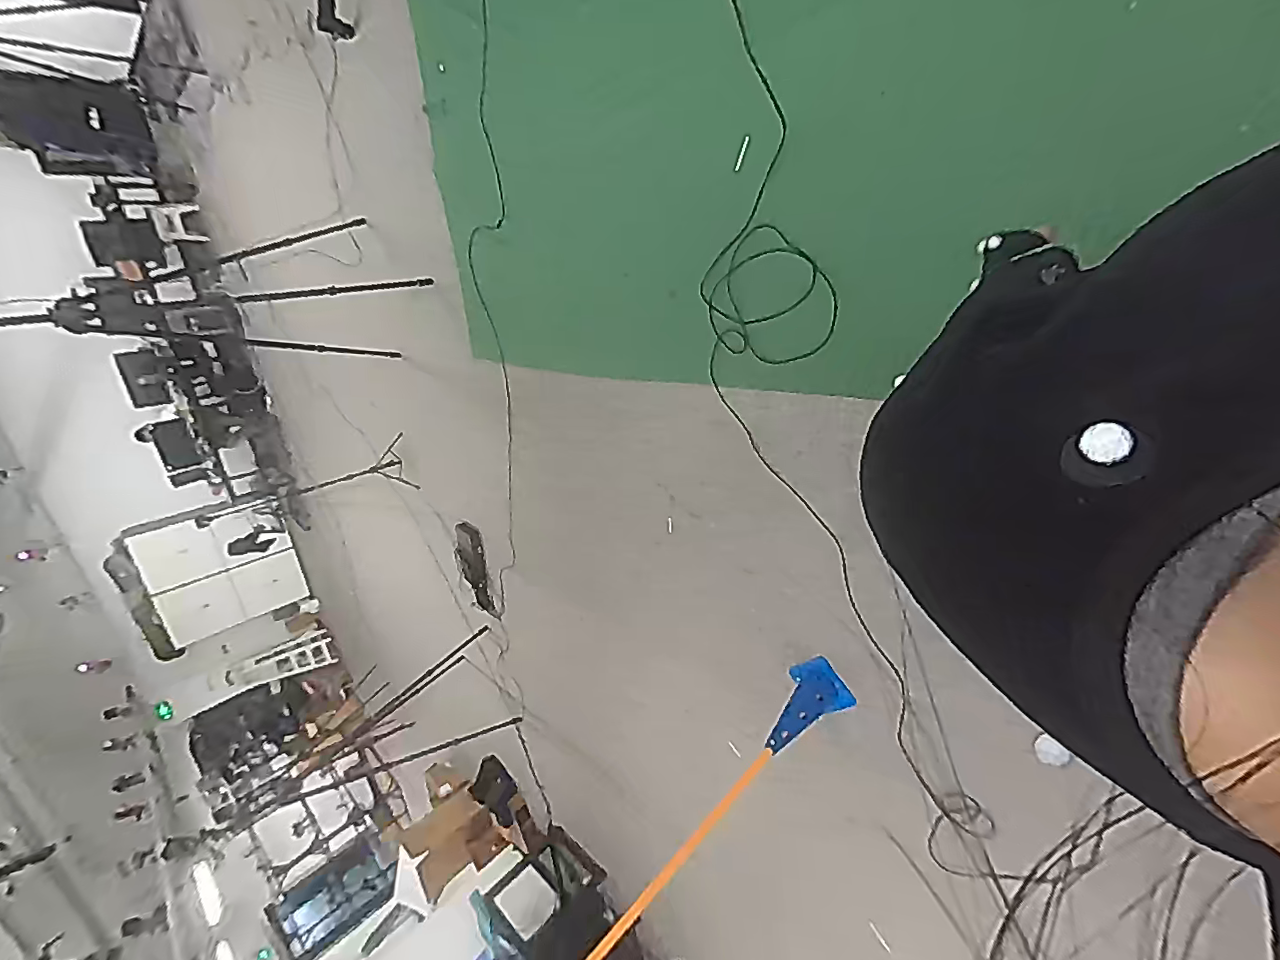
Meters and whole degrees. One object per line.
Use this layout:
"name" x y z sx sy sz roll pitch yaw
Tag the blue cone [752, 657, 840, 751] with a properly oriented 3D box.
"blue cone" 0.510 0.810 1.875 0.192 0.380 0.193 53 140 11
